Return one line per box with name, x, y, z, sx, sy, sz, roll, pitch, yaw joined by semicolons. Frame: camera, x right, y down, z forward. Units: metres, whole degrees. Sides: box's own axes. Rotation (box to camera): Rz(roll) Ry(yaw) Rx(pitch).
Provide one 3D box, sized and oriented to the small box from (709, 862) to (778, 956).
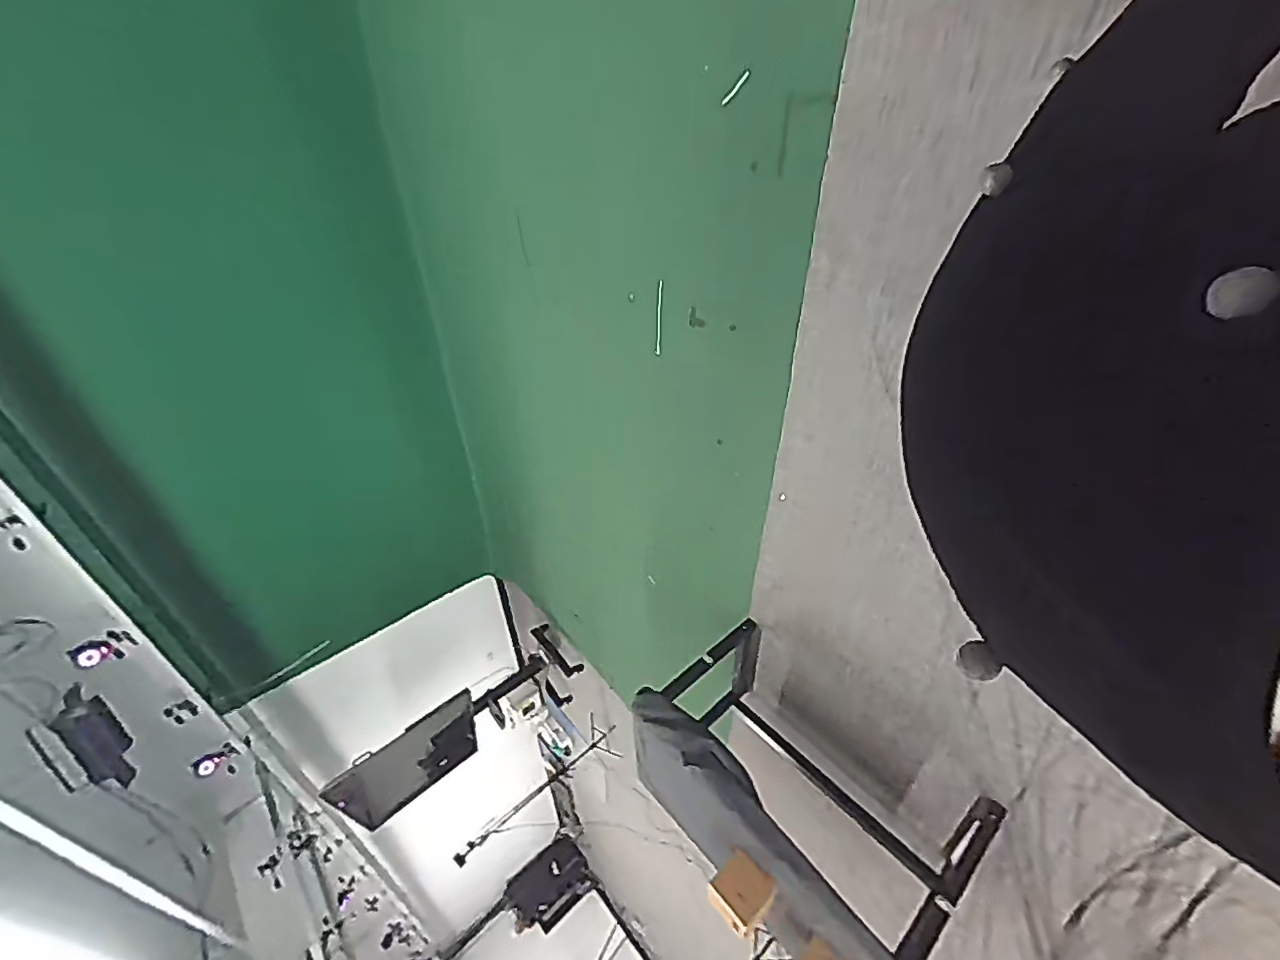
small box;0.366;1.511;1.914;0.179;0.176;0.168;33;138;39
